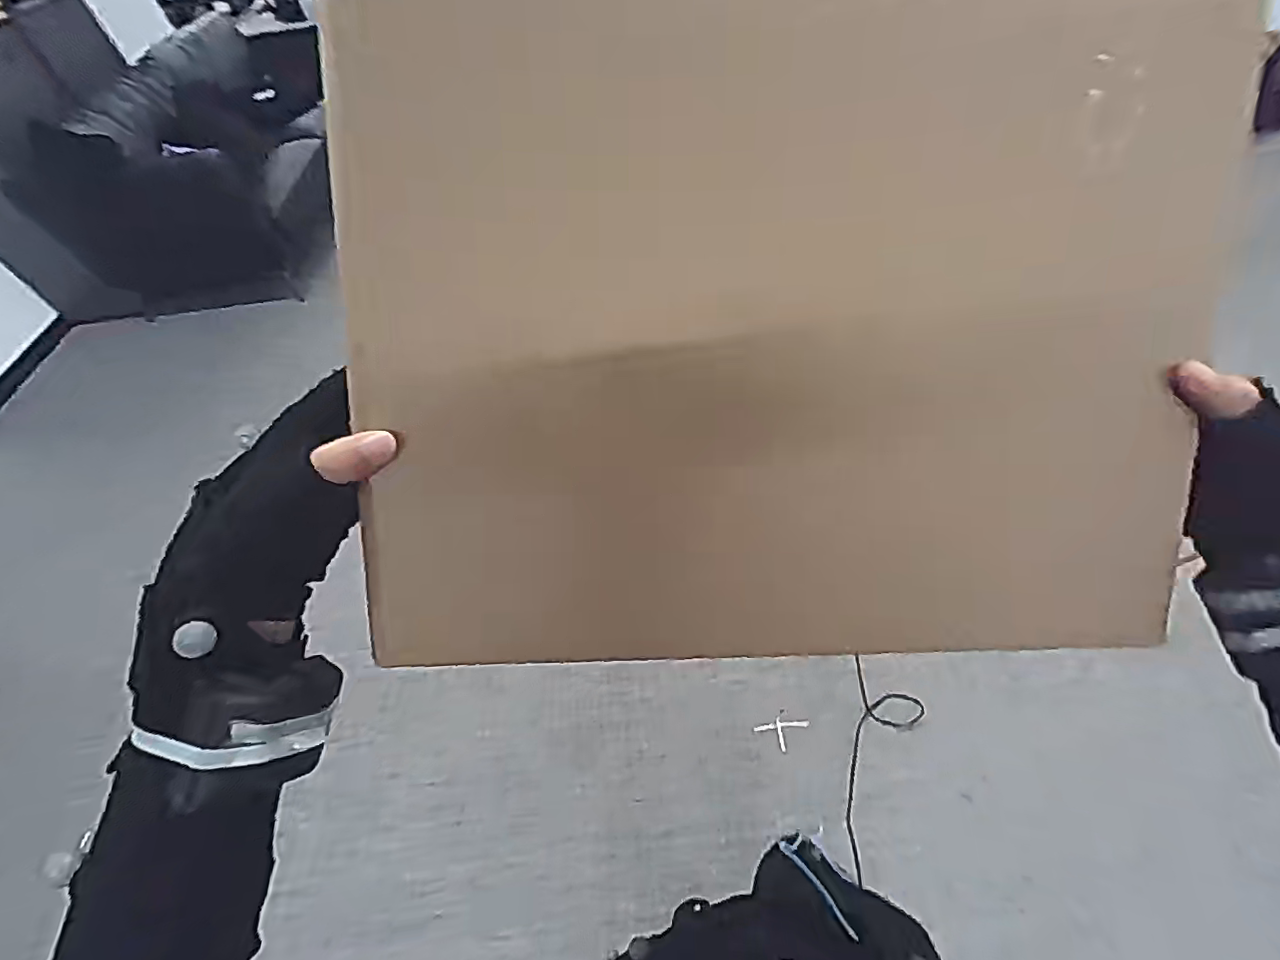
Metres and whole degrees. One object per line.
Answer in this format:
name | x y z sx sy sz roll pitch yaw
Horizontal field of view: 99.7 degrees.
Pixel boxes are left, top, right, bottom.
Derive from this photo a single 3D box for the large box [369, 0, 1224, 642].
large box | 0.065 -0.086 0.405 0.408 0.320 0.320 1 9 -4
